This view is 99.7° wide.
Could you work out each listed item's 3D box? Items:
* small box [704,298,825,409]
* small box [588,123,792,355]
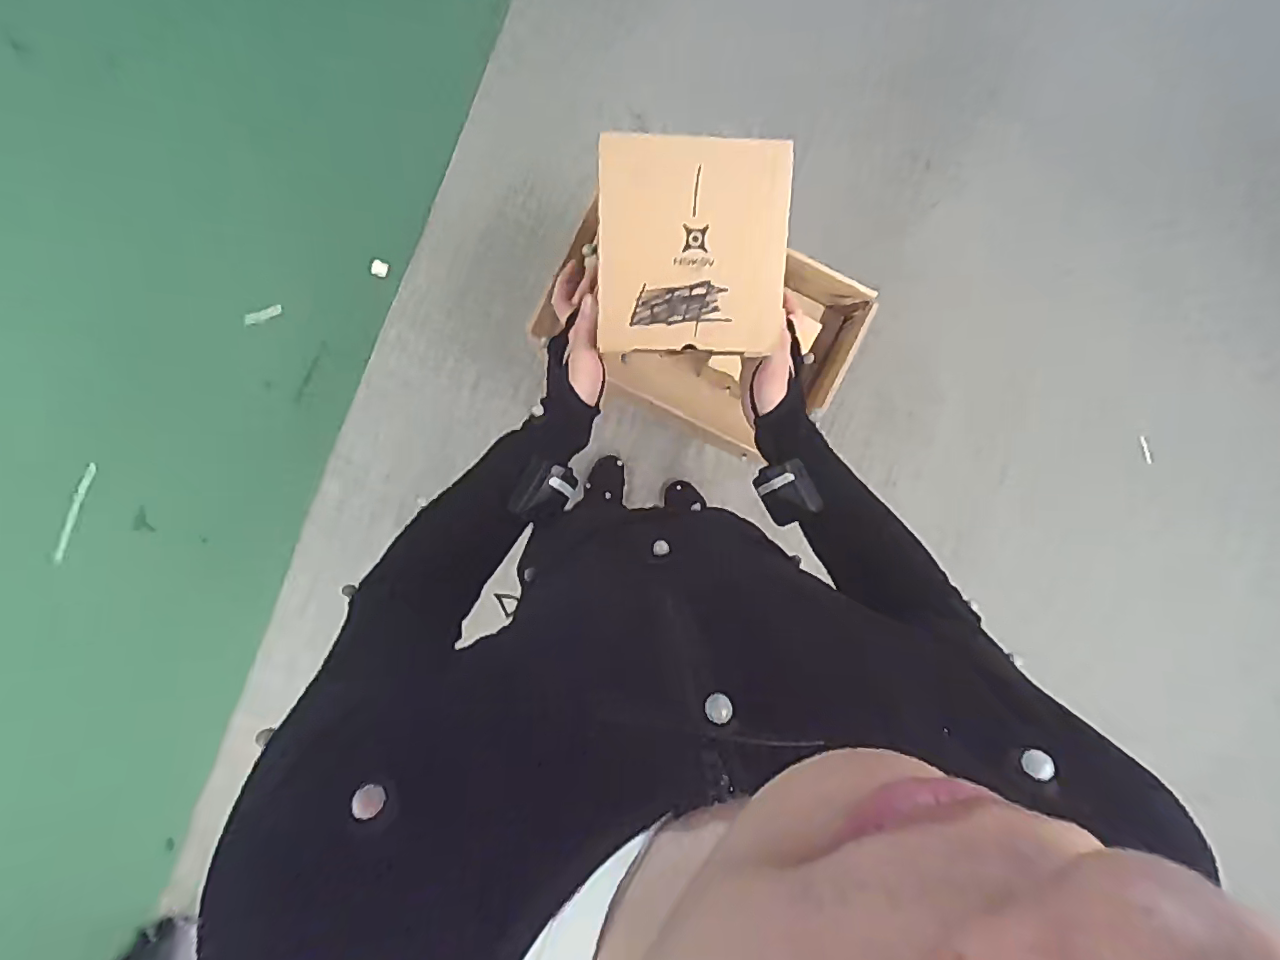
[{"bbox_3d":[0.246,-0.264,1.121,0.168,0.176,0.179,28,92,-1],"label":"small box"},{"bbox_3d":[0.035,-0.216,0.529,0.168,0.176,0.179,0,103,-4],"label":"small box"}]
